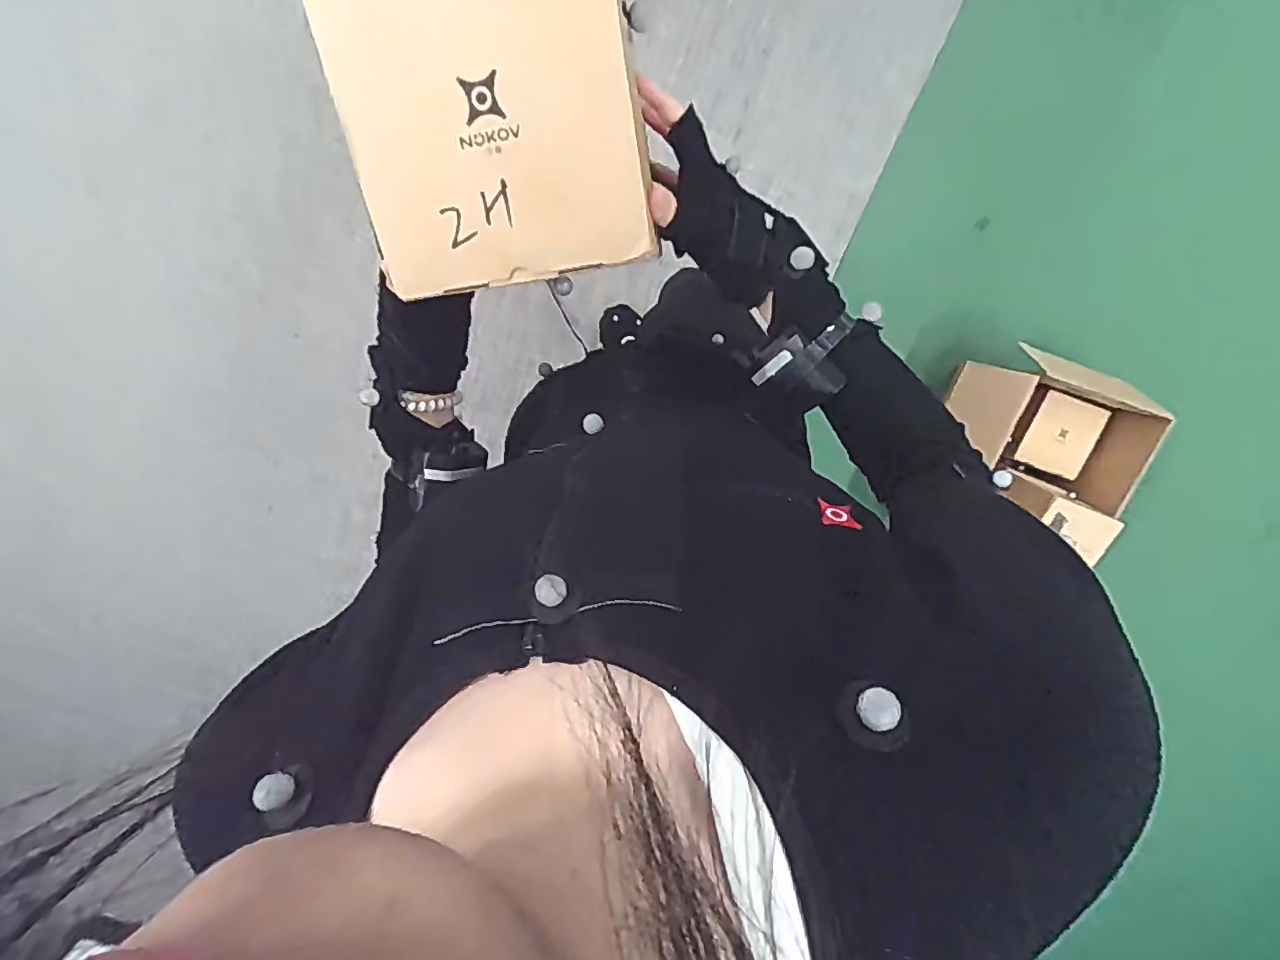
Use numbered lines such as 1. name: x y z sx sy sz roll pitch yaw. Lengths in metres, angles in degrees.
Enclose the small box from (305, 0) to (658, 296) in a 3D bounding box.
1. small box: -0.081 -0.232 0.373 0.168 0.176 0.179 -6 112 8
